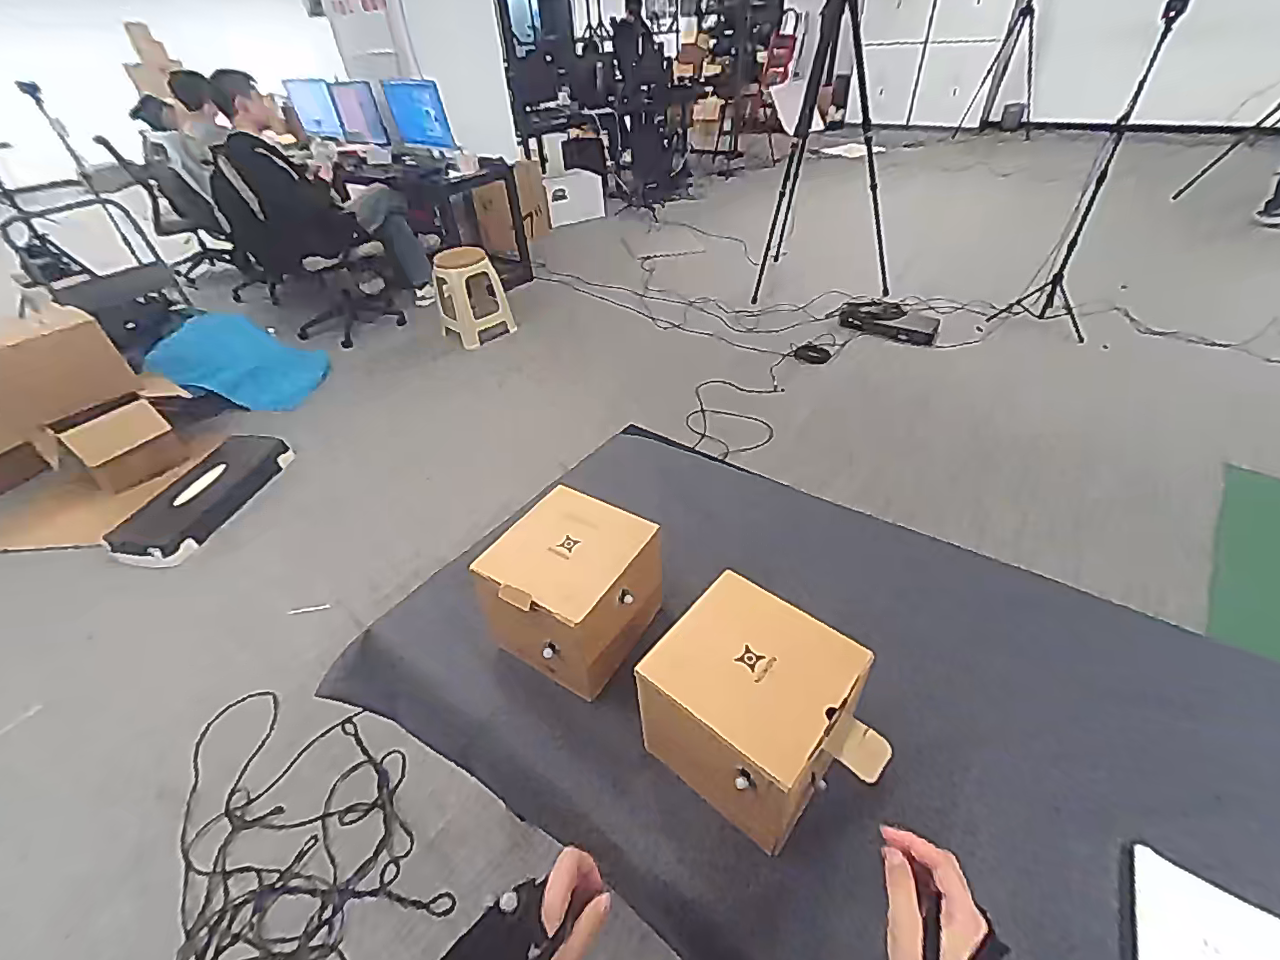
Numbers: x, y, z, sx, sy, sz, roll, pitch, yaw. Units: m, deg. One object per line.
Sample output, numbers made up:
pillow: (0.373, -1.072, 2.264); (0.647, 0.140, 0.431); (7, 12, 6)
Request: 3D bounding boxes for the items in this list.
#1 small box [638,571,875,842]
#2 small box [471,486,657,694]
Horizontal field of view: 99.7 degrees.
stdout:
small box: (0.117, 0.238, 0.578); (0.179, 0.176, 0.168); (27, 49, 32)
small box: (-0.085, 0.143, 0.712); (0.168, 0.176, 0.179); (21, 45, 26)
